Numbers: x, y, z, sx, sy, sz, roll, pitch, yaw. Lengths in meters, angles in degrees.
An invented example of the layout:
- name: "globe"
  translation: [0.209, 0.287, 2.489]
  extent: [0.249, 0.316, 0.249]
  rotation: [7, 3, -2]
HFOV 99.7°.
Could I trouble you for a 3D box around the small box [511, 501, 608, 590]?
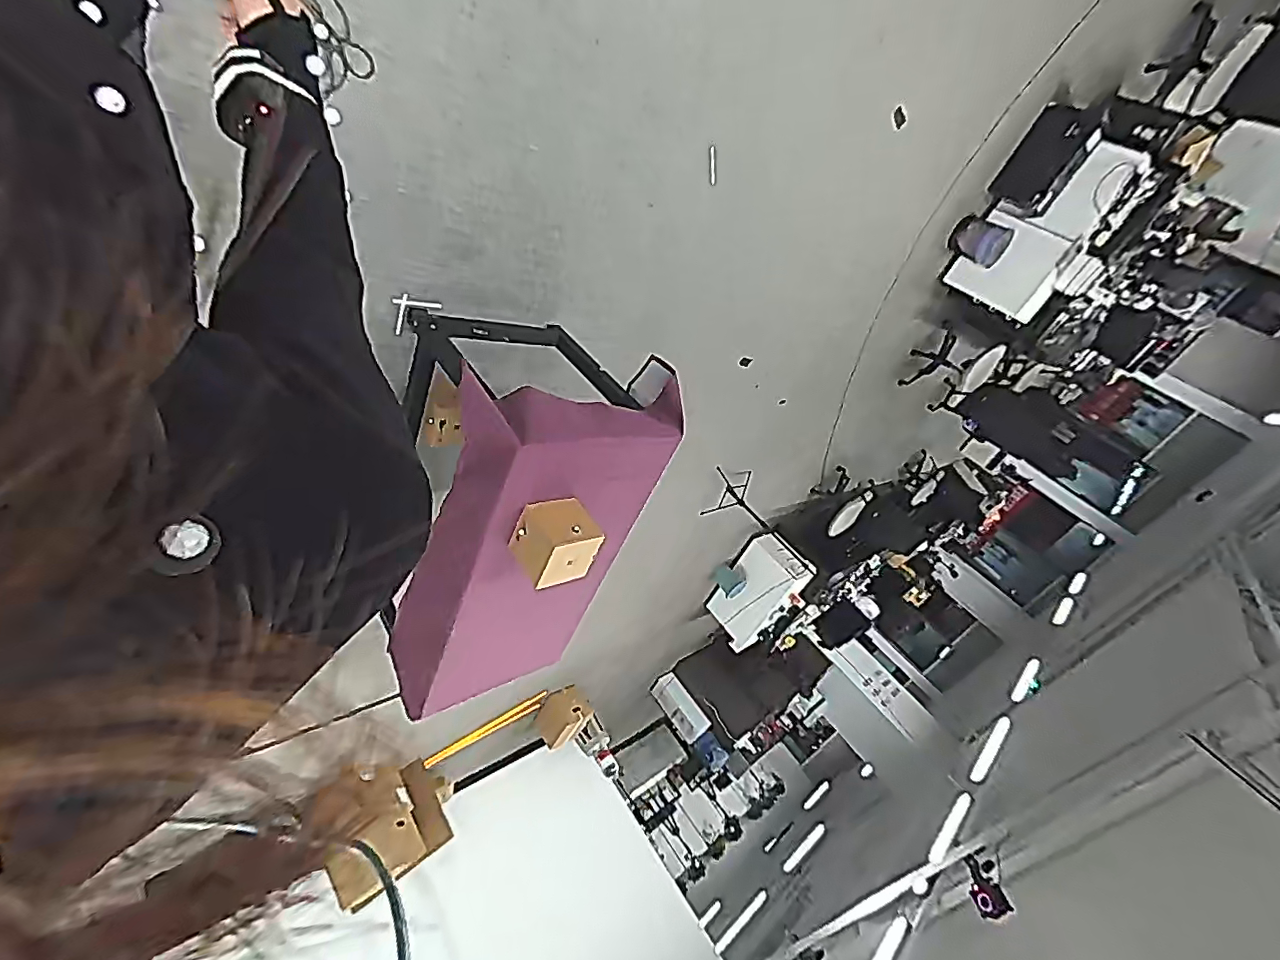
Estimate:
- name: "small box"
  translation: [-0.226, 0.174, 1.501]
  extent: [0.179, 0.176, 0.168]
  rotation: [-7, 135, -45]
